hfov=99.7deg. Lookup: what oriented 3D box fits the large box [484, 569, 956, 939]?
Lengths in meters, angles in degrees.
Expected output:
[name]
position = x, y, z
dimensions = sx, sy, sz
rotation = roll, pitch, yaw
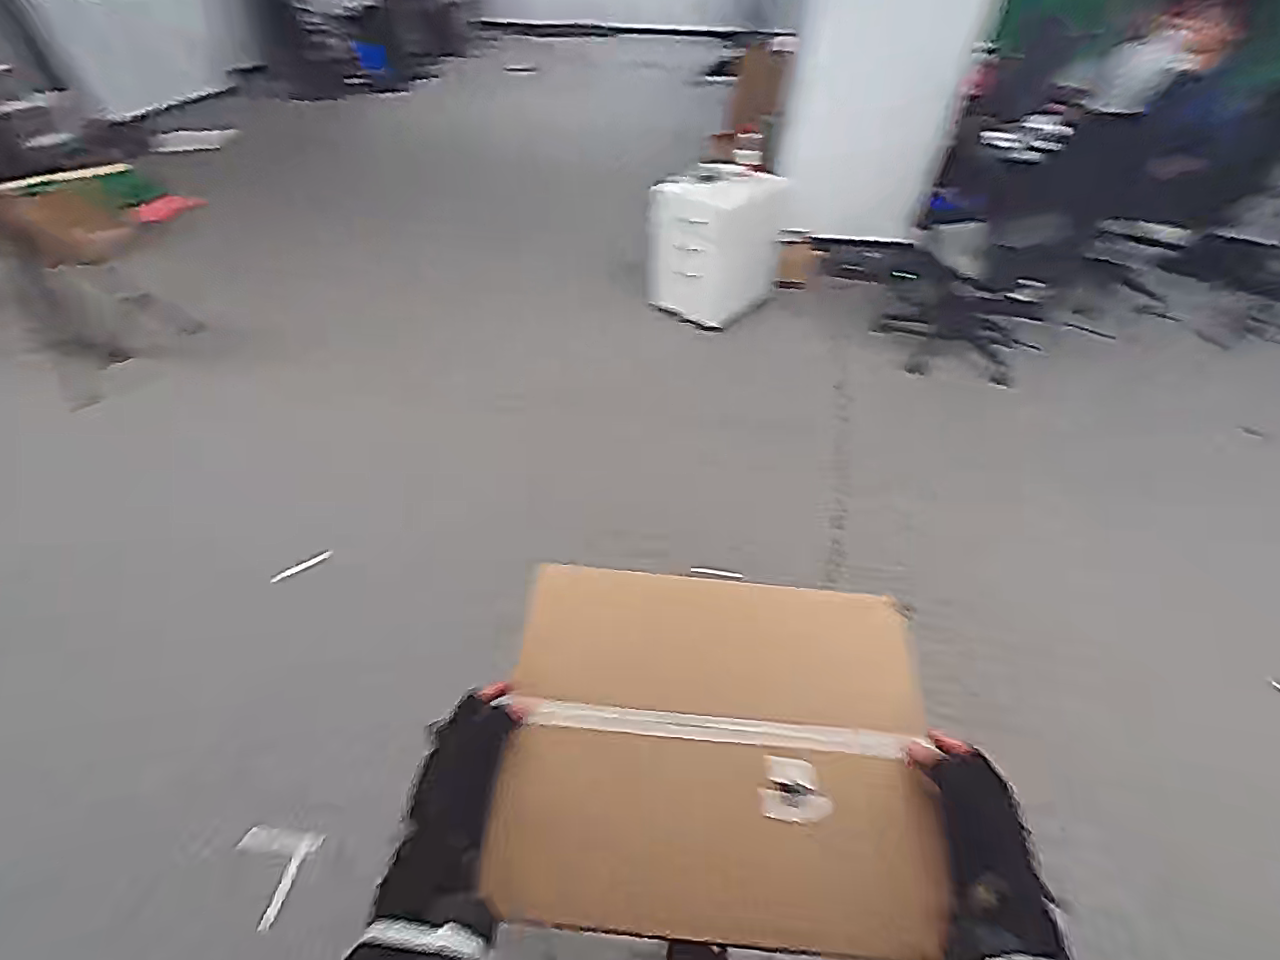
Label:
[large box]
position = 0.068, 0.328, 0.653
dimensions = 0.408, 0.320, 0.320
rotation = 5, 54, 1
